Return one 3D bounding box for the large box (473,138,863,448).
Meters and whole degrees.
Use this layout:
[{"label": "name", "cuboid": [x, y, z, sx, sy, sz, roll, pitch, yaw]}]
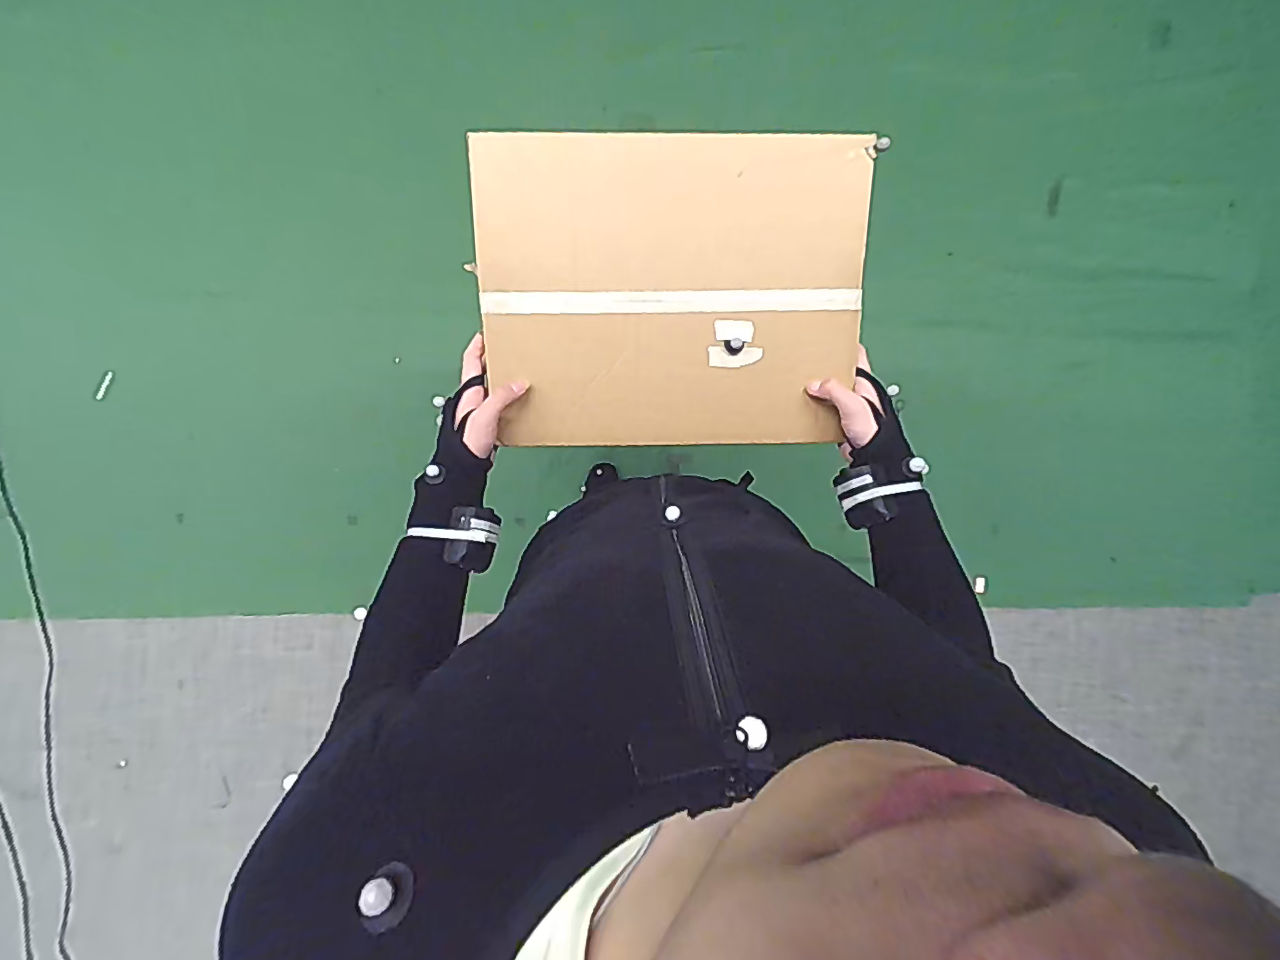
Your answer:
[{"label": "large box", "cuboid": [0.027, -0.231, 0.726, 0.408, 0.320, 0.320, -2, 106, -3]}]
